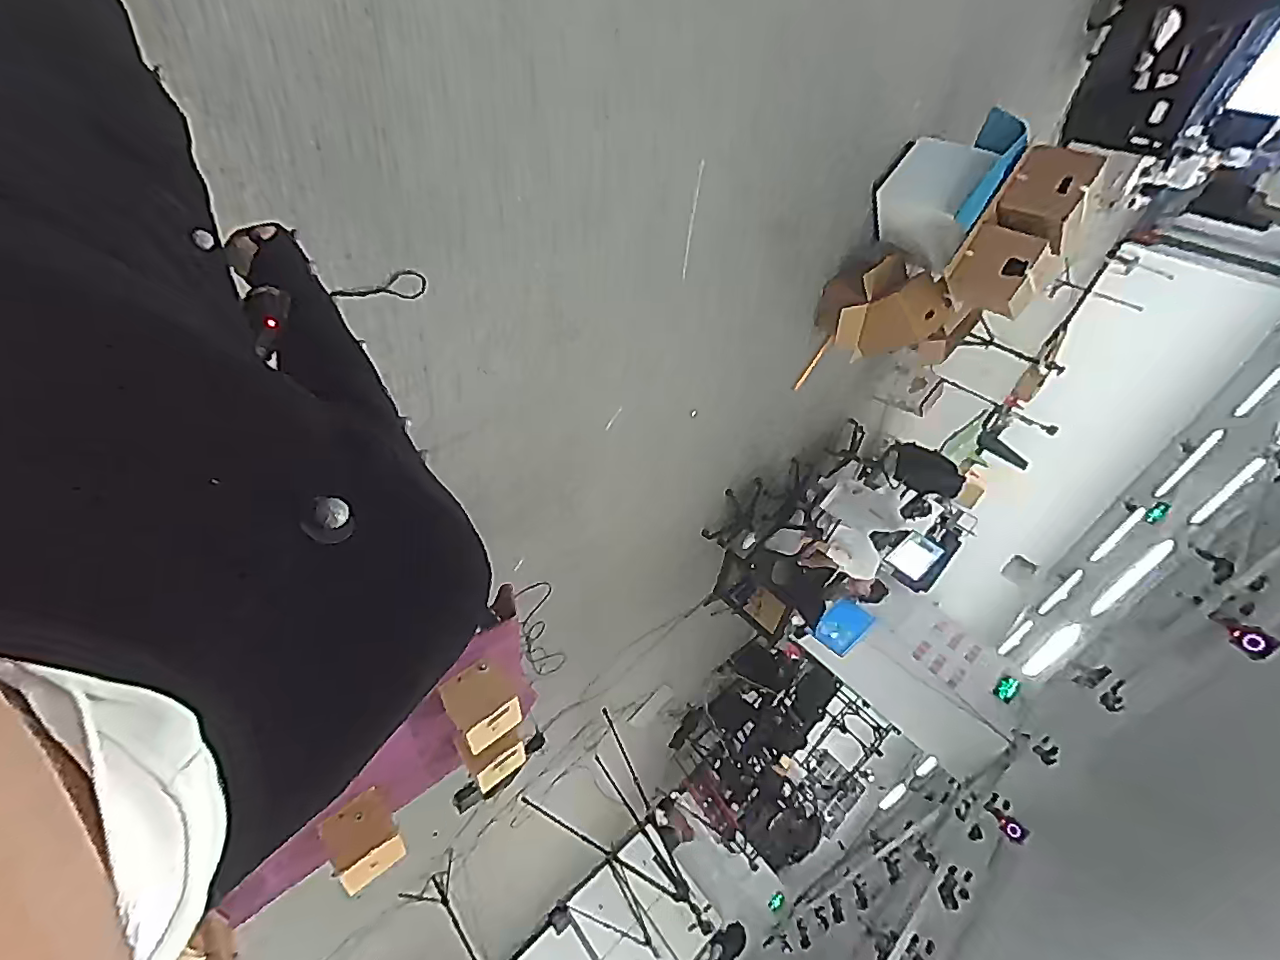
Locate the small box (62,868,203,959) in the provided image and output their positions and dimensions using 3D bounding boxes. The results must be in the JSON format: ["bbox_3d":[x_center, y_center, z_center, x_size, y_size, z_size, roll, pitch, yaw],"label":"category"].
[{"bbox_3d":[-1.093,0.989,1.171,0.168,0.176,0.179,-27,144,-36],"label":"small box"}]

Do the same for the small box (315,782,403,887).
[{"bbox_3d":[-0.822,1.031,1.584,0.168,0.176,0.179,-26,141,-35],"label":"small box"}]

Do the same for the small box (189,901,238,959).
[{"bbox_3d":[-1.136,1.207,1.351,0.168,0.176,0.179,-28,142,-37],"label":"small box"}]

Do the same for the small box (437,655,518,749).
[{"bbox_3d":[-0.482,0.649,1.602,0.168,0.176,0.179,-29,146,-31],"label":"small box"}]
